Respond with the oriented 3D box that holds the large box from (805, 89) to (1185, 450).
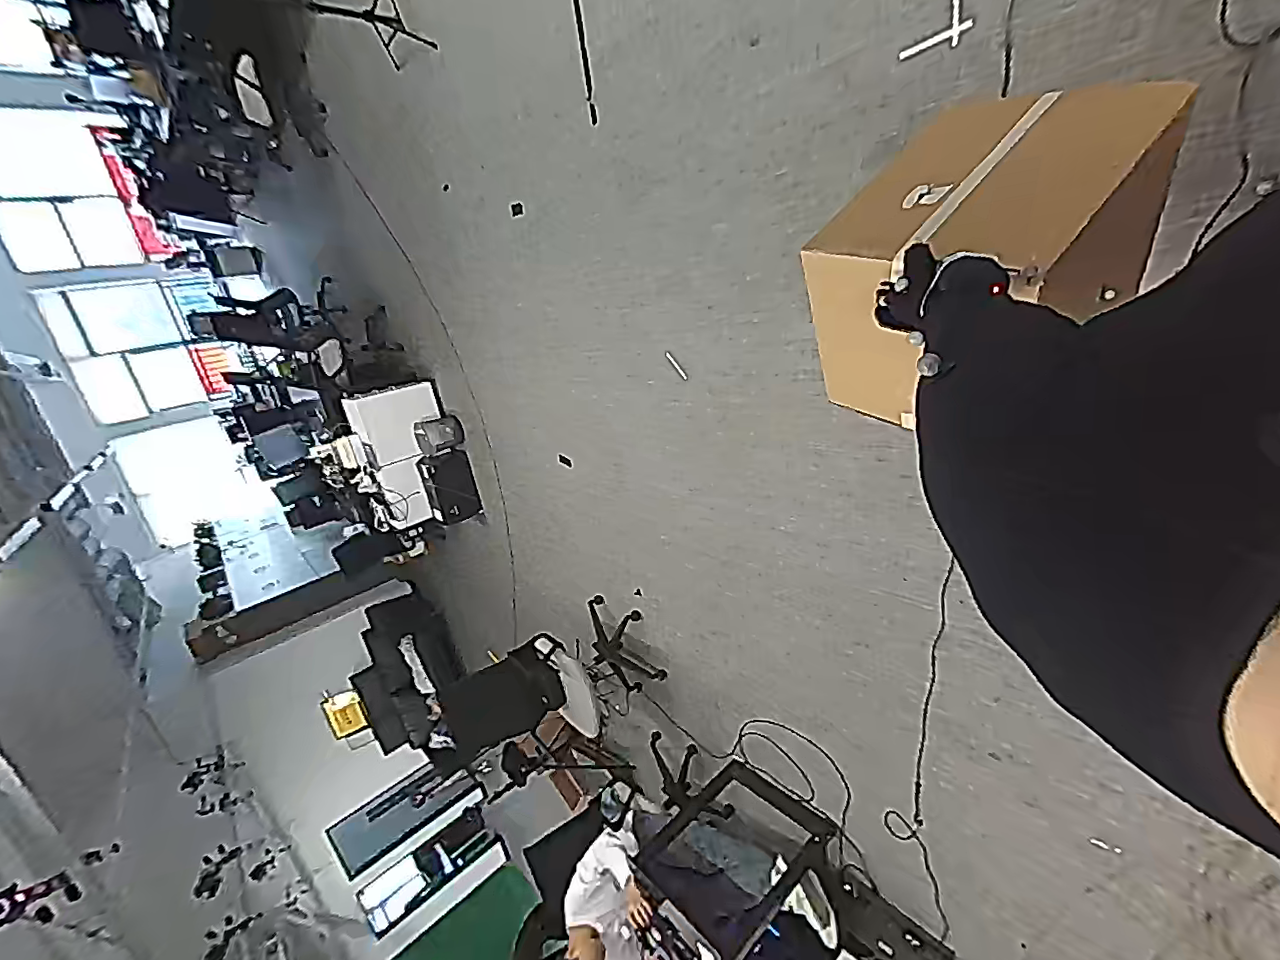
[{"bbox_3d":[0.526,-0.325,0.846,0.320,0.408,0.320,32,163,44],"label":"large box"}]
